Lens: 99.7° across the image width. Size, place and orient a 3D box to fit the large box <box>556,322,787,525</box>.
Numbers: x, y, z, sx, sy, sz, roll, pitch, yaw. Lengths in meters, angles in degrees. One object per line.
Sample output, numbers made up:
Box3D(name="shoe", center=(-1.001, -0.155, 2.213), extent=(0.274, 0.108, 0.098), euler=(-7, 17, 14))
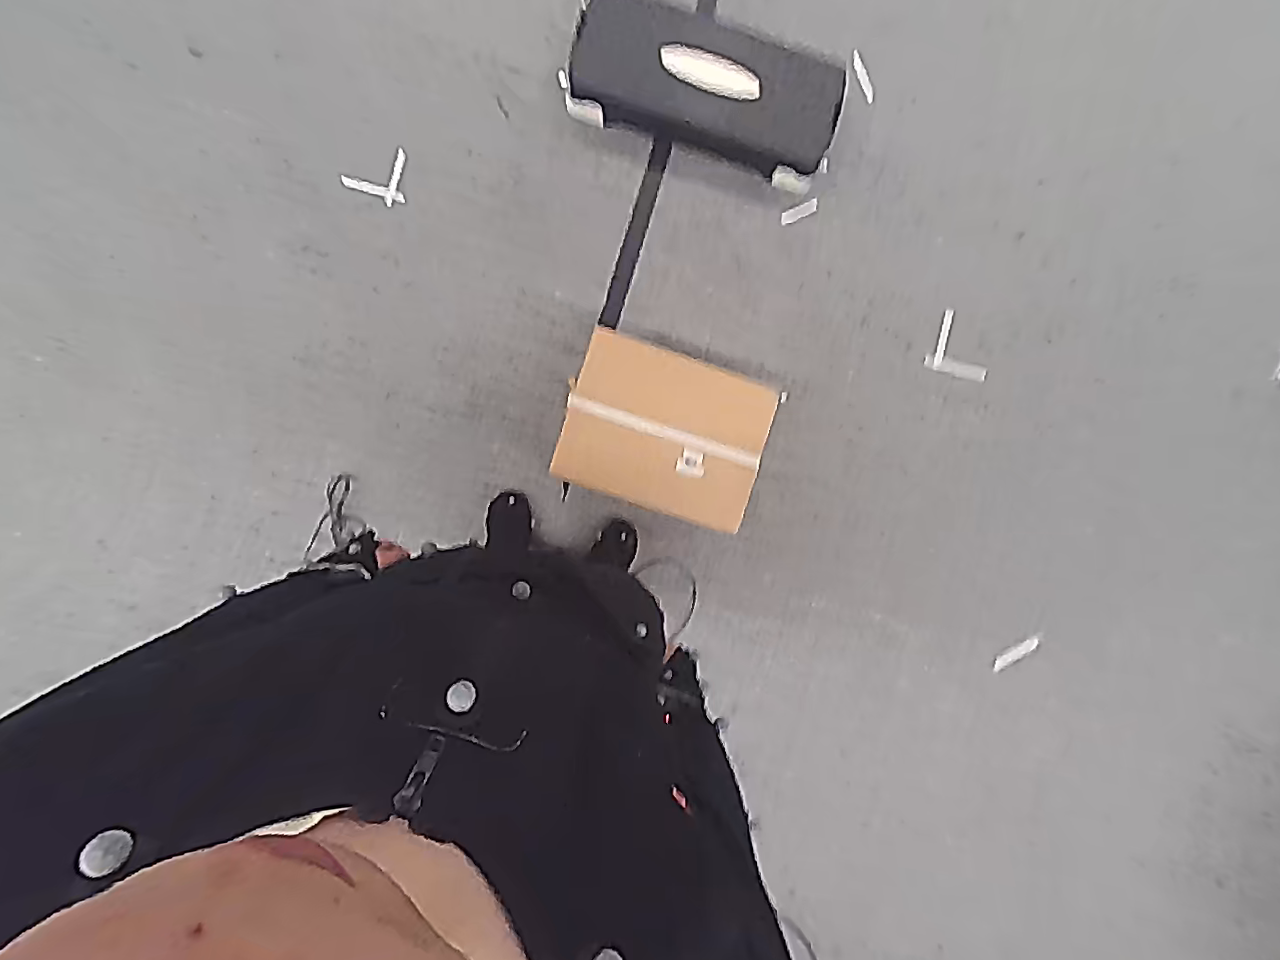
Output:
Box3D(name="large box", center=(0.050, -0.112, 1.216), extent=(0.408, 0.320, 0.320), euler=(18, 90, -5))
